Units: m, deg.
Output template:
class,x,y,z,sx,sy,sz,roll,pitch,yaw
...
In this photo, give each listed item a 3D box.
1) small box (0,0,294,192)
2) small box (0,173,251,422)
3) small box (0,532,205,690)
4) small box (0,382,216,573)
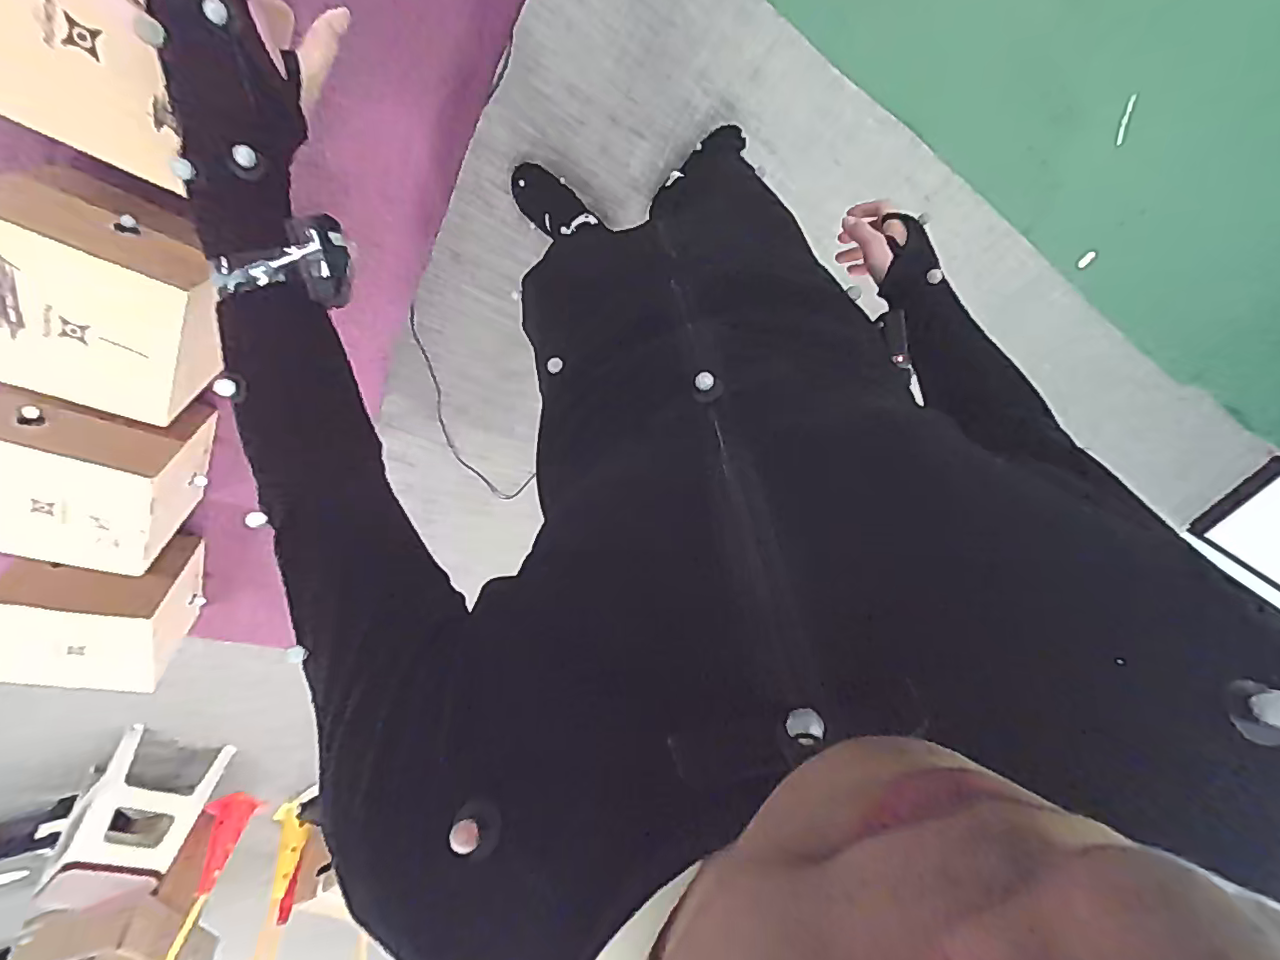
class,x,y,z,sx,sy,sz,roll,pitch,yaw
small box,-0.434,-0.380,0.459,0.179,0.176,0.168,22,118,-26
small box,-0.553,-0.194,0.567,0.179,0.176,0.168,21,118,-27
small box,-0.776,0.176,0.785,0.179,0.176,0.168,15,121,-23
small box,-0.673,-0.018,0.667,0.179,0.176,0.168,20,119,-26
